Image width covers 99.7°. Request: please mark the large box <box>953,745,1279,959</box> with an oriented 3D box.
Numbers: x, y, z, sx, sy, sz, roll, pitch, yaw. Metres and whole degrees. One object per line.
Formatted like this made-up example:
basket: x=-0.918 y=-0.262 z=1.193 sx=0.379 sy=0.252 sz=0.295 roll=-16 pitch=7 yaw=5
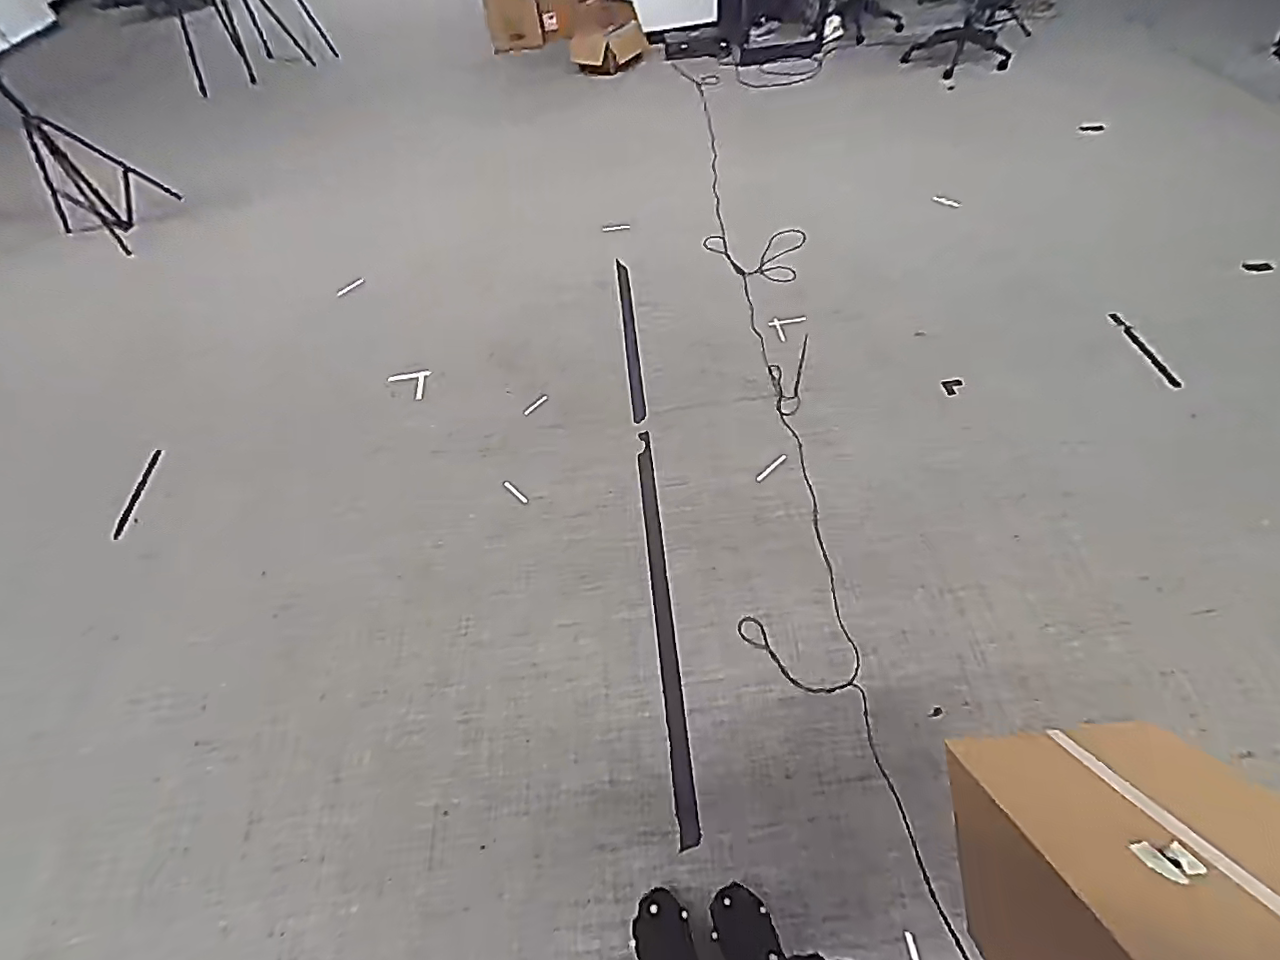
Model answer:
large box: x=0.633 y=0.573 z=0.634 sx=0.320 sy=0.408 sz=0.320 roll=-8 pitch=92 yaw=5
